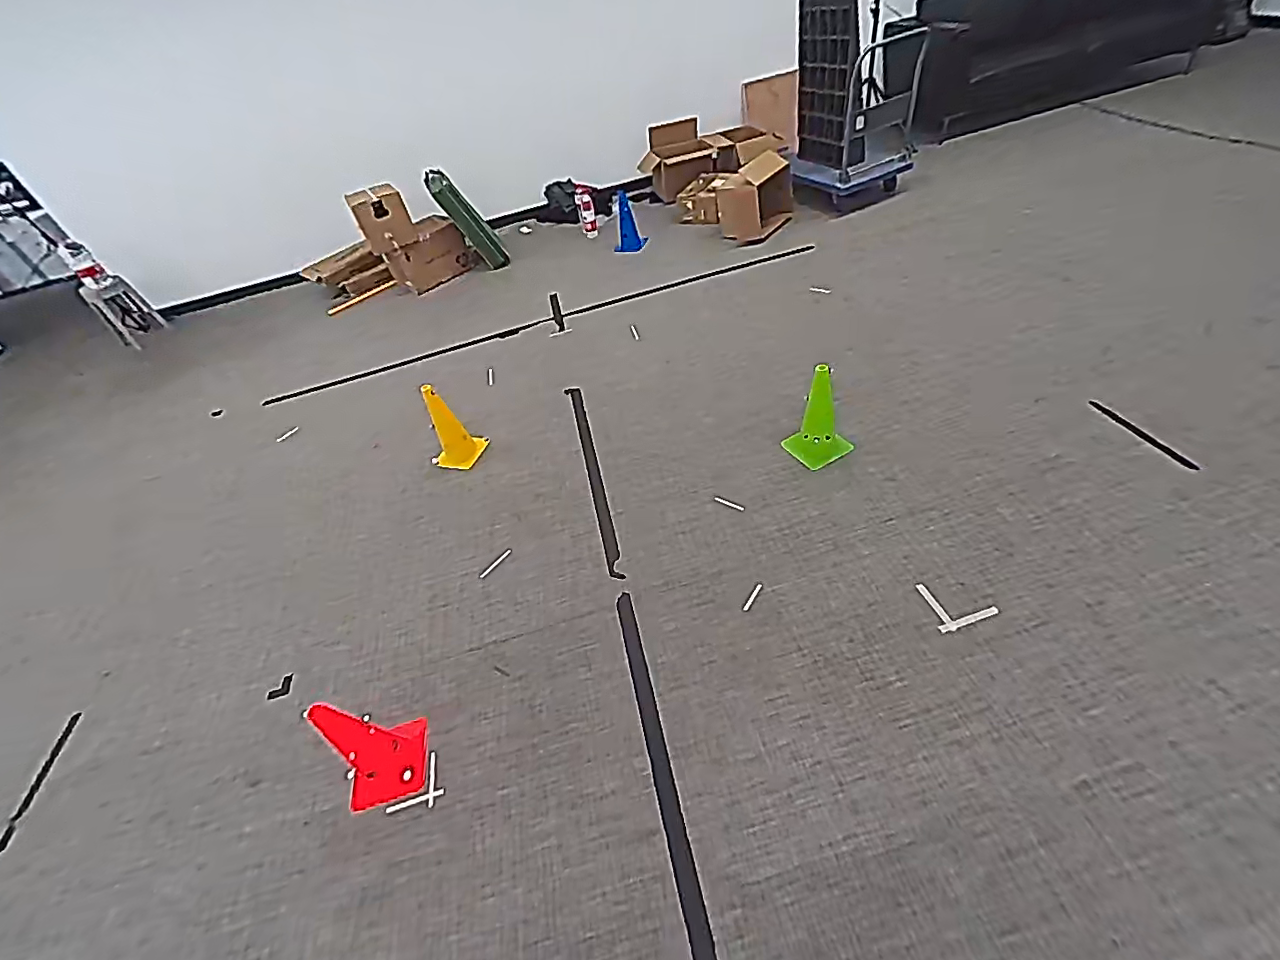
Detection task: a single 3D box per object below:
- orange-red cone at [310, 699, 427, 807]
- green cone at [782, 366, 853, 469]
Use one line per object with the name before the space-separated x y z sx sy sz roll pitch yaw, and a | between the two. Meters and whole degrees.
orange-red cone | -0.713 0.647 1.362 0.198 0.360 0.199 -16 42 -3
green cone | 0.641 -0.250 1.935 0.200 0.368 0.202 -28 46 -13
